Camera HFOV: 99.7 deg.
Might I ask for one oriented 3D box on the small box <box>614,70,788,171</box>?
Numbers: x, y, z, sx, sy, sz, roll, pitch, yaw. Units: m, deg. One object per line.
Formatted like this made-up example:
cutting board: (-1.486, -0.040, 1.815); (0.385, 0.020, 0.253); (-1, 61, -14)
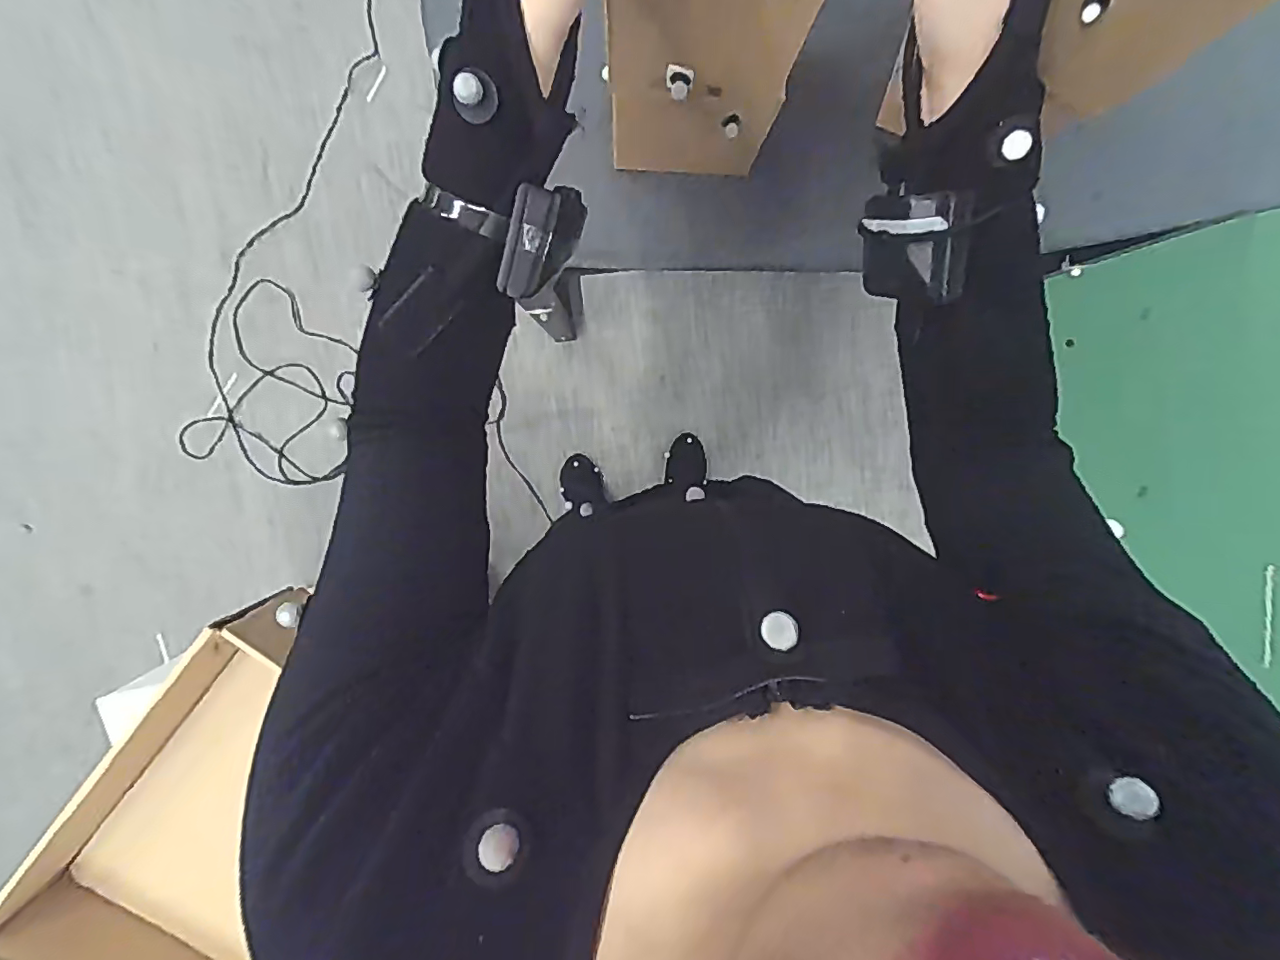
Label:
small box: (0.062, -0.473, 0.611); (0.179, 0.176, 0.168); (2, 96, -1)

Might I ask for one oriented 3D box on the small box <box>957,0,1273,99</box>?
small box: (0.421, -0.469, 0.453); (0.179, 0.176, 0.168); (25, 95, -4)

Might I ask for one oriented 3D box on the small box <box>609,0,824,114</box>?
small box: (0.064, -0.451, 0.450); (0.168, 0.176, 0.179); (7, 97, -1)
